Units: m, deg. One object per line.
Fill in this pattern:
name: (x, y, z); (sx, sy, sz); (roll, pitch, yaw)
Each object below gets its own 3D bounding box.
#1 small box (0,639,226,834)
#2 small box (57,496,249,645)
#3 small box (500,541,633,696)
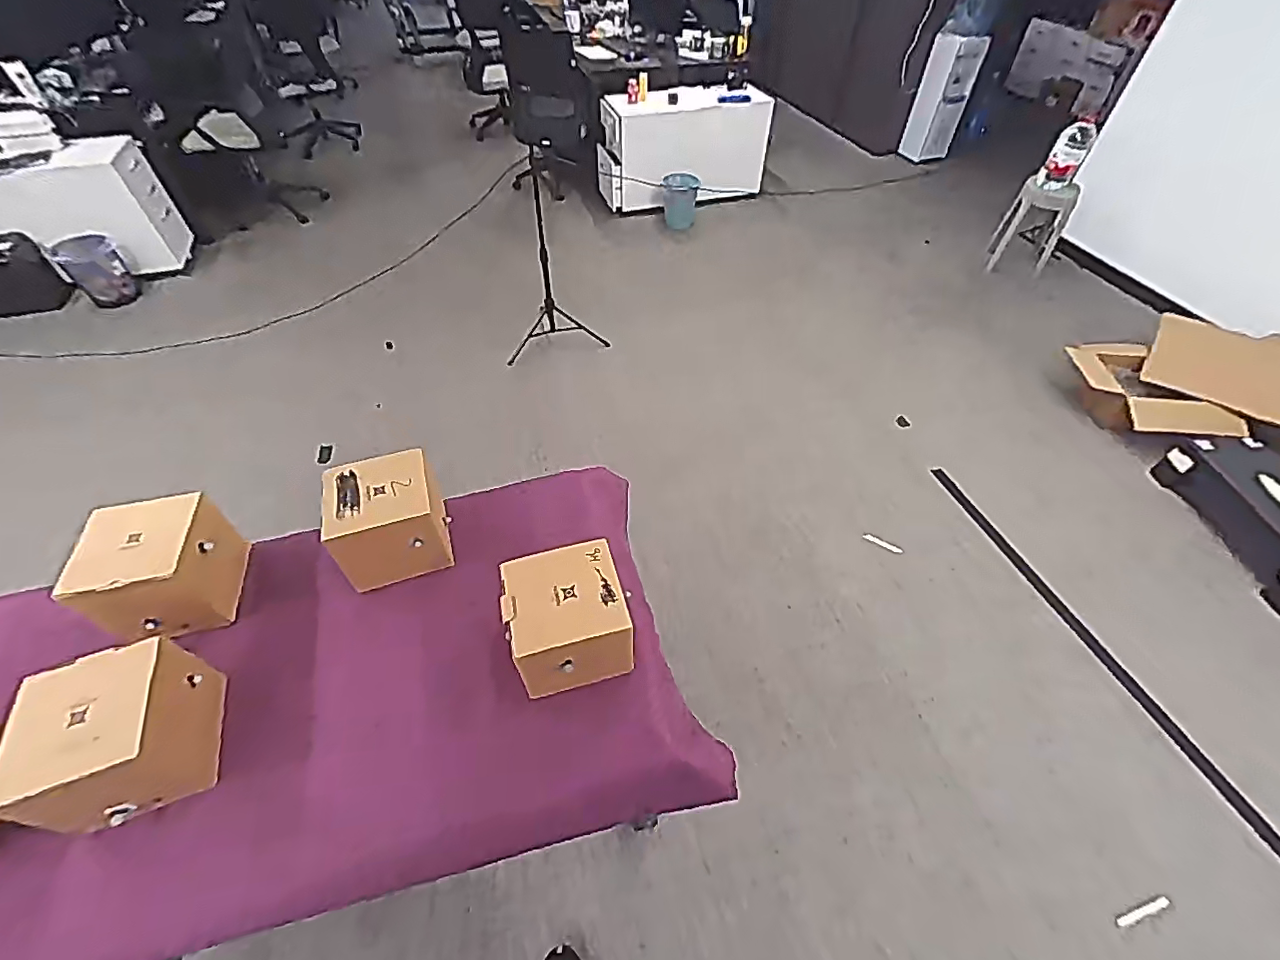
small box: (-0.723, 0.361, 0.761); (0.168, 0.176, 0.179); (-17, 51, -14)
small box: (-0.815, 0.156, 0.933); (0.168, 0.176, 0.179); (-11, 51, -10)
small box: (-0.116, 0.228, 0.878); (0.179, 0.176, 0.168); (-13, 51, -9)
